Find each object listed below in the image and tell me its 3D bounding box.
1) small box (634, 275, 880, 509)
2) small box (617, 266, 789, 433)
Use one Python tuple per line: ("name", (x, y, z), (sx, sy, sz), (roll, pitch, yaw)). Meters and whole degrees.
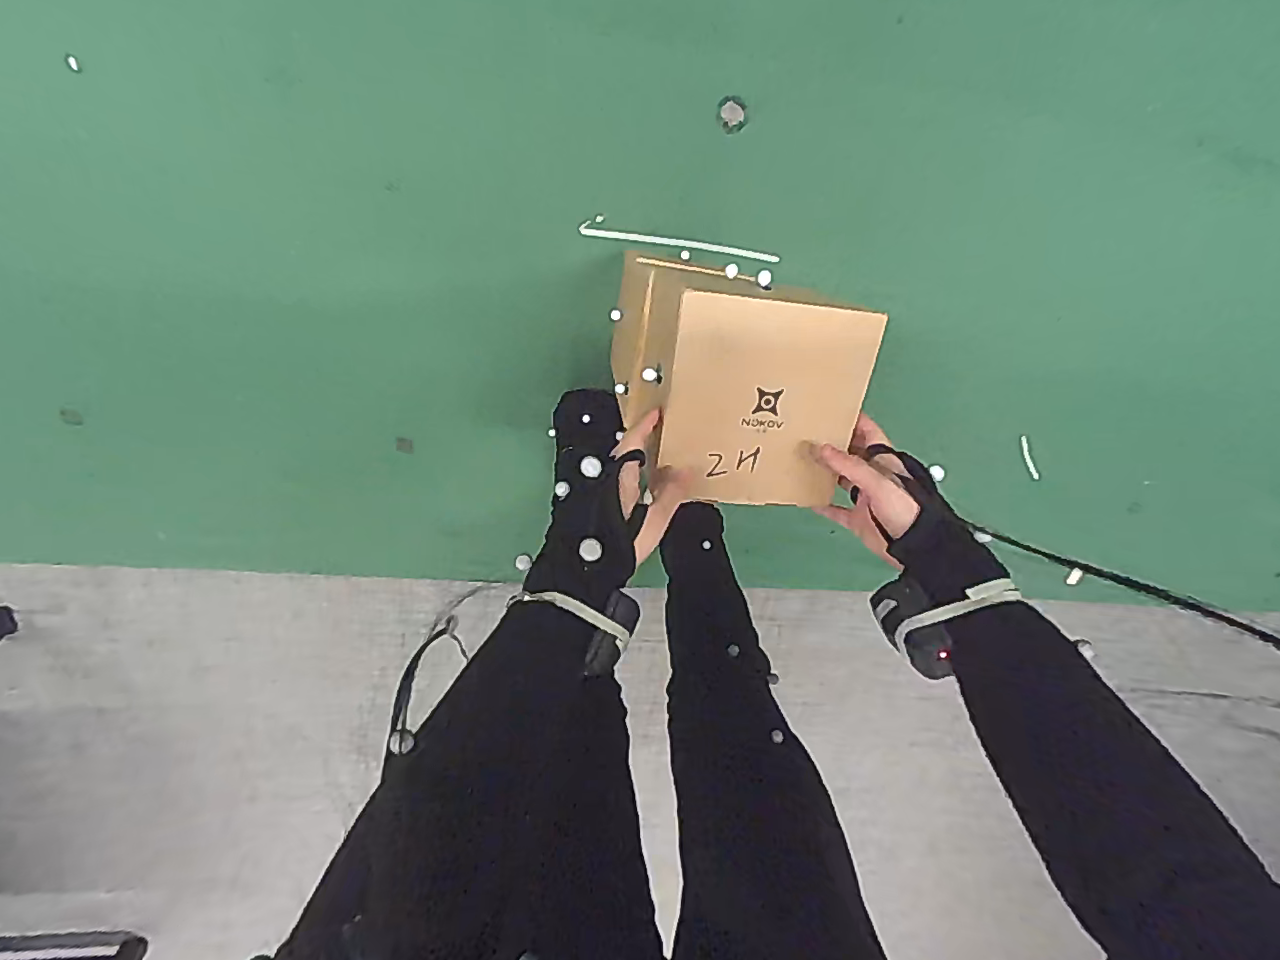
("small box", (0.089, -0.091, 0.514), (0.168, 0.176, 0.179), (4, 115, -8))
("small box", (0.066, -0.158, 0.663), (0.168, 0.176, 0.179), (5, 114, -9))
